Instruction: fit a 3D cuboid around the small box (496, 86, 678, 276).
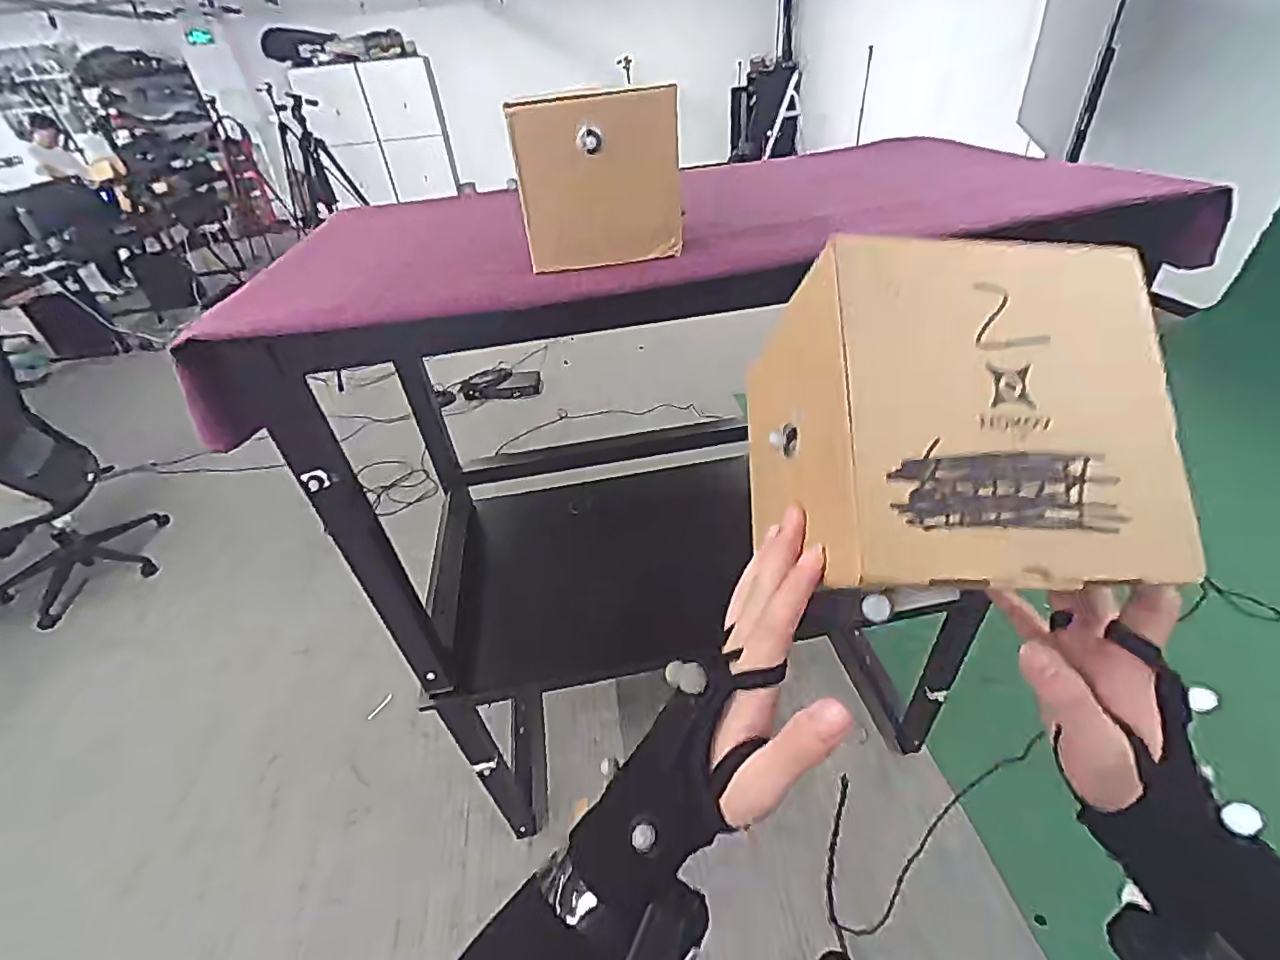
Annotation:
[{"bbox_3d":[-0.056,-0.352,0.641,0.179,0.176,0.168,-8,37,-2],"label":"small box"}]
